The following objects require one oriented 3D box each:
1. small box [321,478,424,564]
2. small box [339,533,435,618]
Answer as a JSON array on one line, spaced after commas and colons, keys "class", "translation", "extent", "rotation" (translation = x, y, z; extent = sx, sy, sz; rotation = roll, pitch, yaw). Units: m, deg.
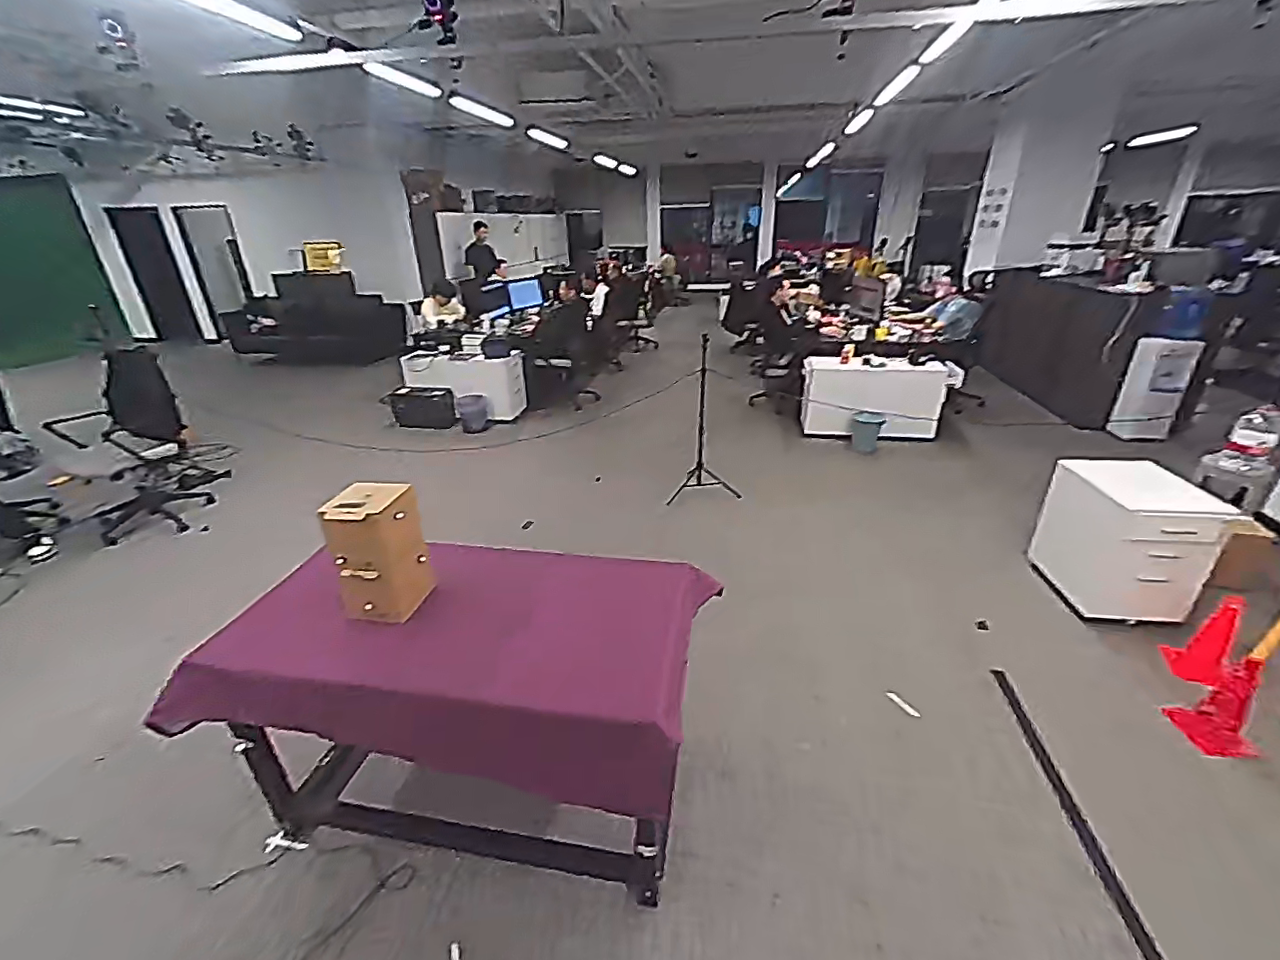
[{"class": "small box", "translation": [-0.697, 0.108, 1.435], "extent": [0.168, 0.176, 0.179], "rotation": [2, 25, 6]}, {"class": "small box", "translation": [-0.692, 0.256, 1.506], "extent": [0.168, 0.176, 0.179], "rotation": [3, 27, 10]}]
